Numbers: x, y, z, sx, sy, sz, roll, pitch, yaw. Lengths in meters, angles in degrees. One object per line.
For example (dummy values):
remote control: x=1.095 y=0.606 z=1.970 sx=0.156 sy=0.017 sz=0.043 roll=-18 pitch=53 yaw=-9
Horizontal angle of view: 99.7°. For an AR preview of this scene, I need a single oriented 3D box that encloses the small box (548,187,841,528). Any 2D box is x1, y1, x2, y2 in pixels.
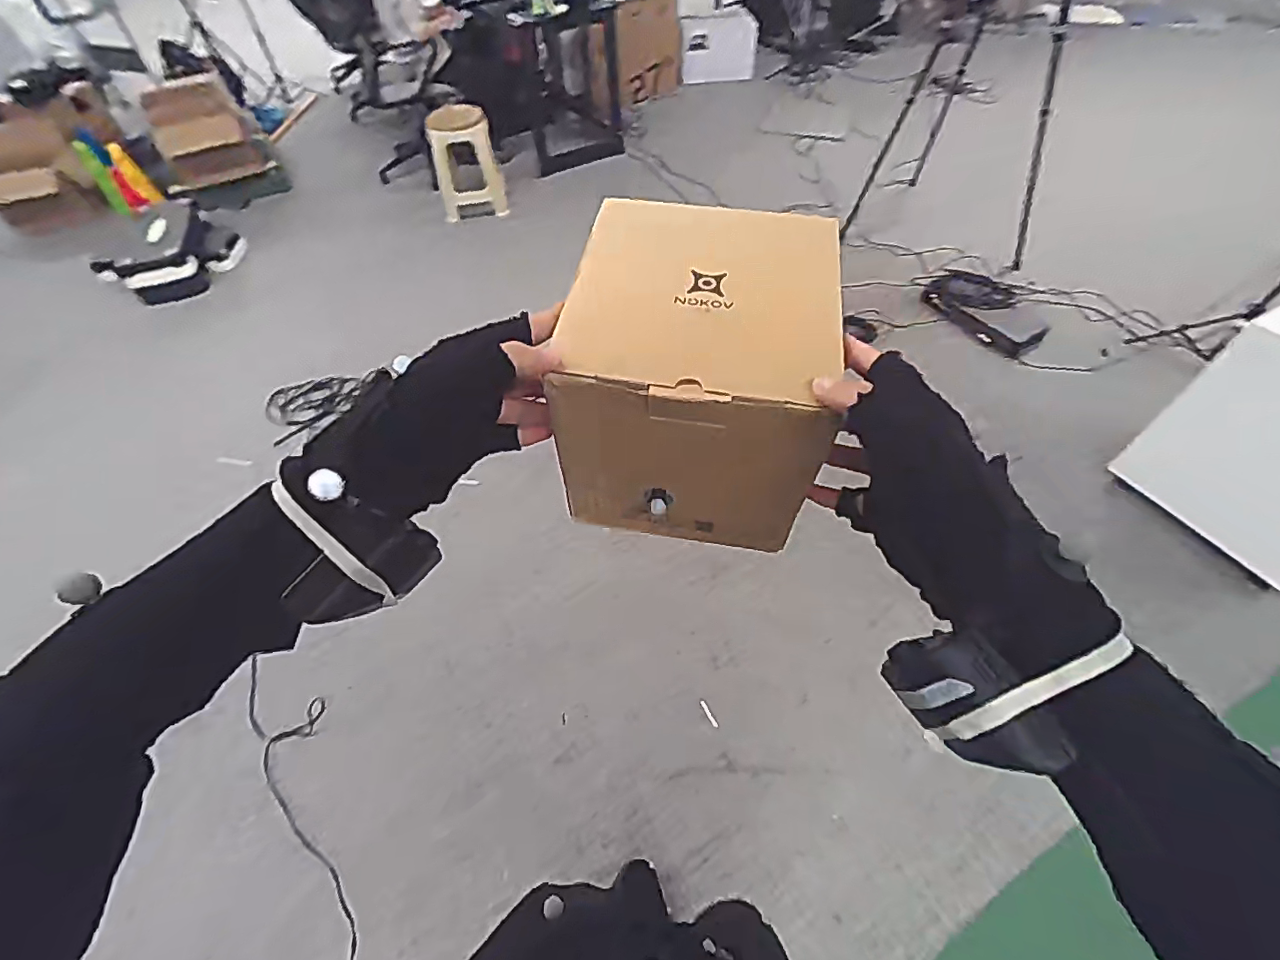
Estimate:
small box: x=0.040 y=-0.087 z=0.408 sx=0.168 sy=0.176 sz=0.179 roll=7 pitch=57 yaw=5
